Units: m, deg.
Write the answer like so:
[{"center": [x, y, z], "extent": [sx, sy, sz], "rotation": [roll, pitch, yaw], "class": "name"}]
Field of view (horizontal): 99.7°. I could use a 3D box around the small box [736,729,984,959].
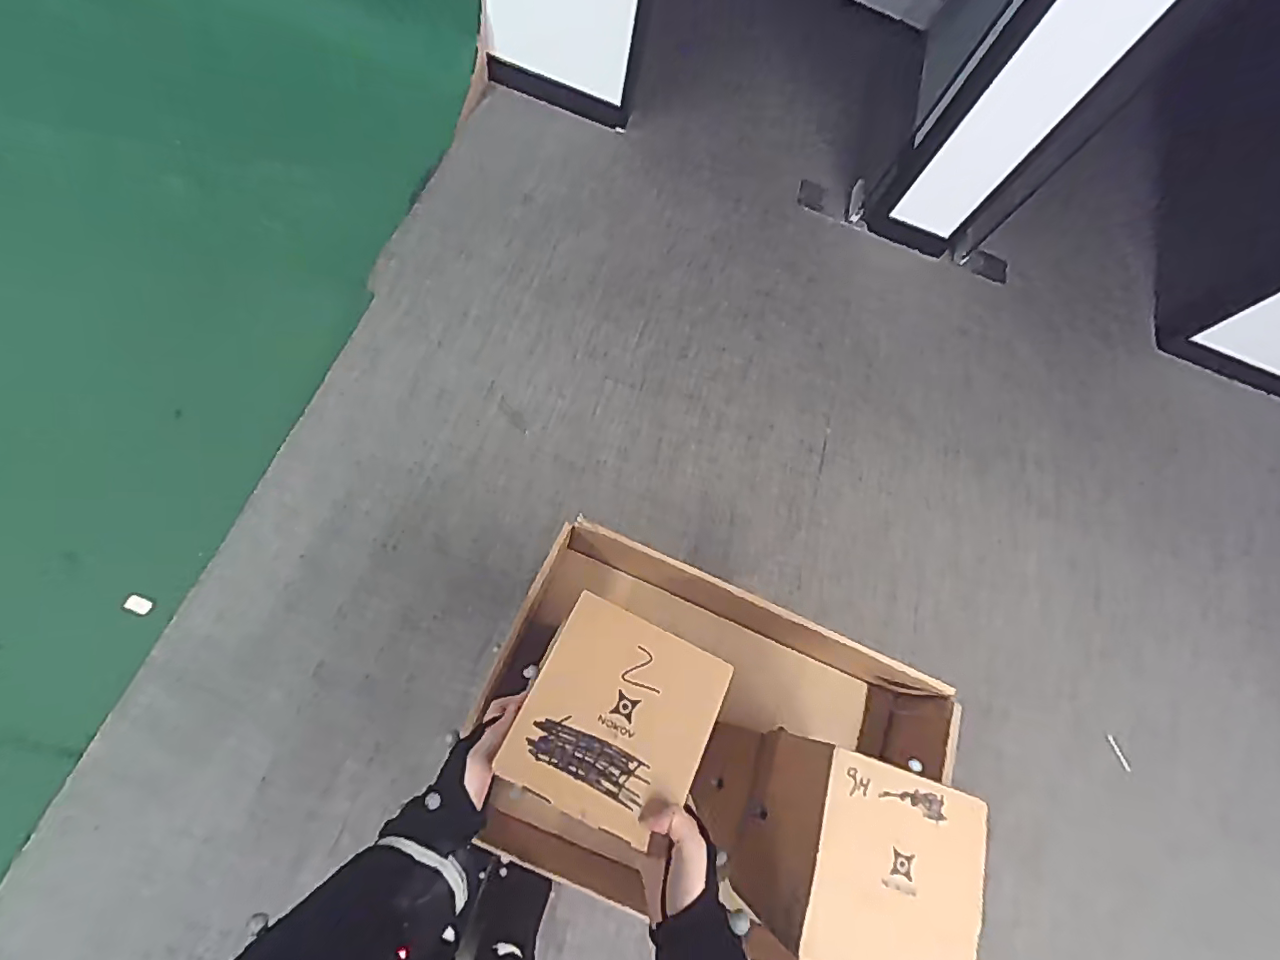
[{"center": [0.216, 0.386, 0.568], "extent": [0.168, 0.176, 0.179], "rotation": [23, 69, -4], "class": "small box"}]
